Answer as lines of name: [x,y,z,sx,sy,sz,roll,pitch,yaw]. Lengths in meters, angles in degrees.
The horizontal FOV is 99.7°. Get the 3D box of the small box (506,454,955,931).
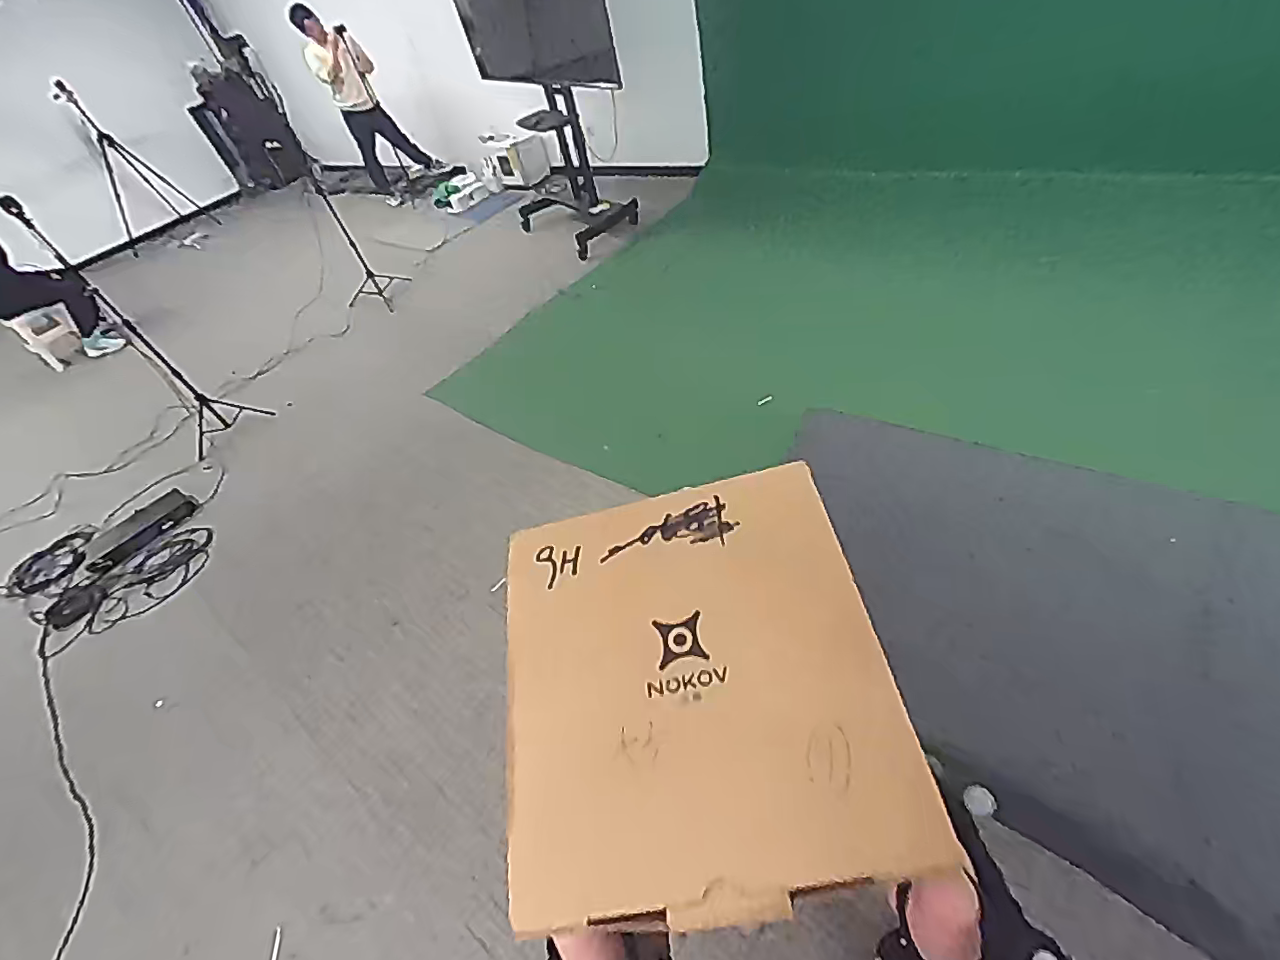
small box: [0.035,0.117,0.302,0.168,0.176,0.179,-13,56,4]
